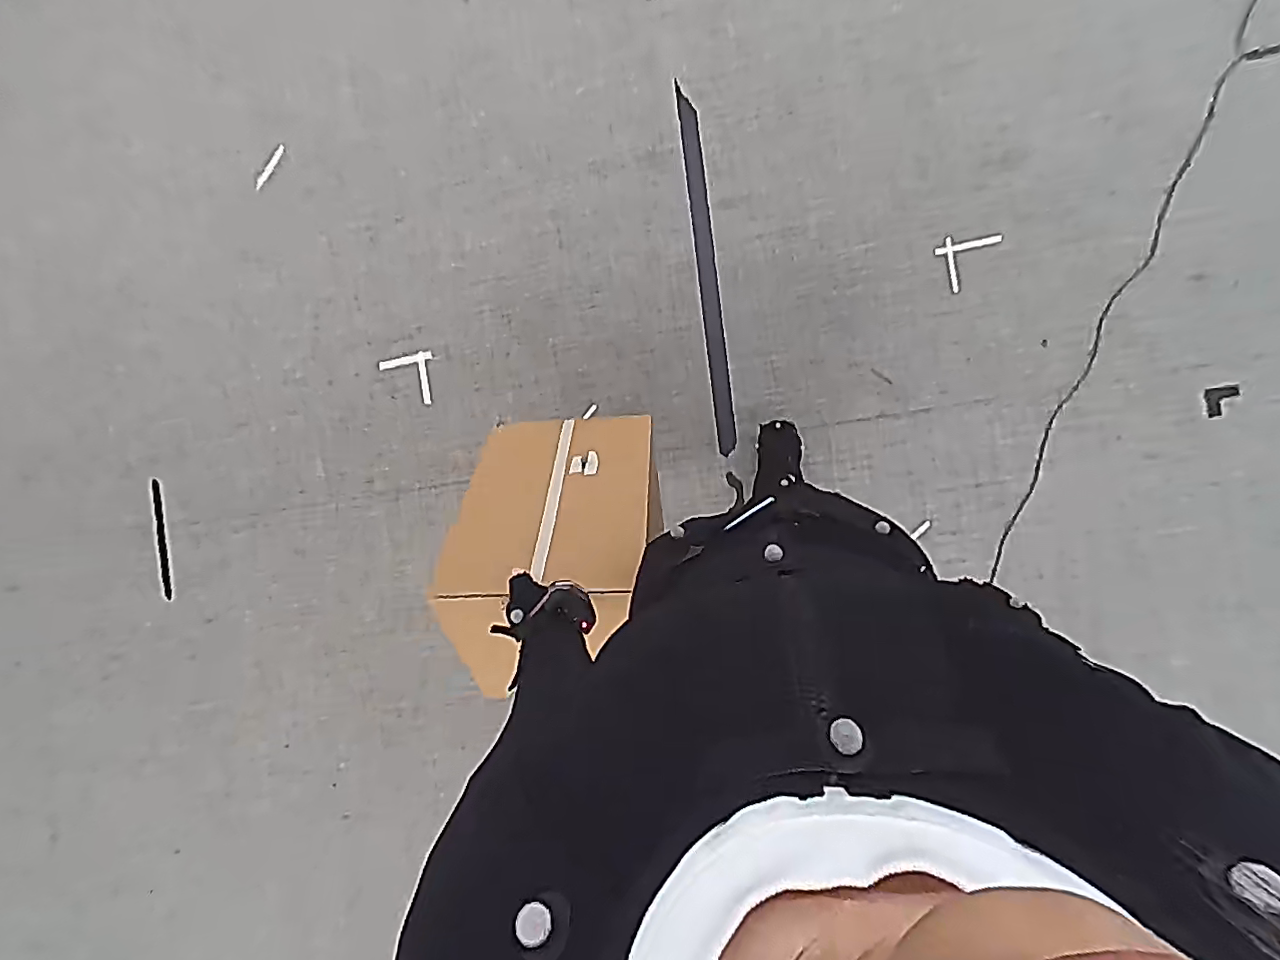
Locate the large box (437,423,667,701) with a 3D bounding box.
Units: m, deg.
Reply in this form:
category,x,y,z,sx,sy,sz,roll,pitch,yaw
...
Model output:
category,x,y,z,sx,sy,sz,roll,pitch,yaw
large box,-0.120,0.142,0.997,0.320,0.408,0.320,-3,131,5
